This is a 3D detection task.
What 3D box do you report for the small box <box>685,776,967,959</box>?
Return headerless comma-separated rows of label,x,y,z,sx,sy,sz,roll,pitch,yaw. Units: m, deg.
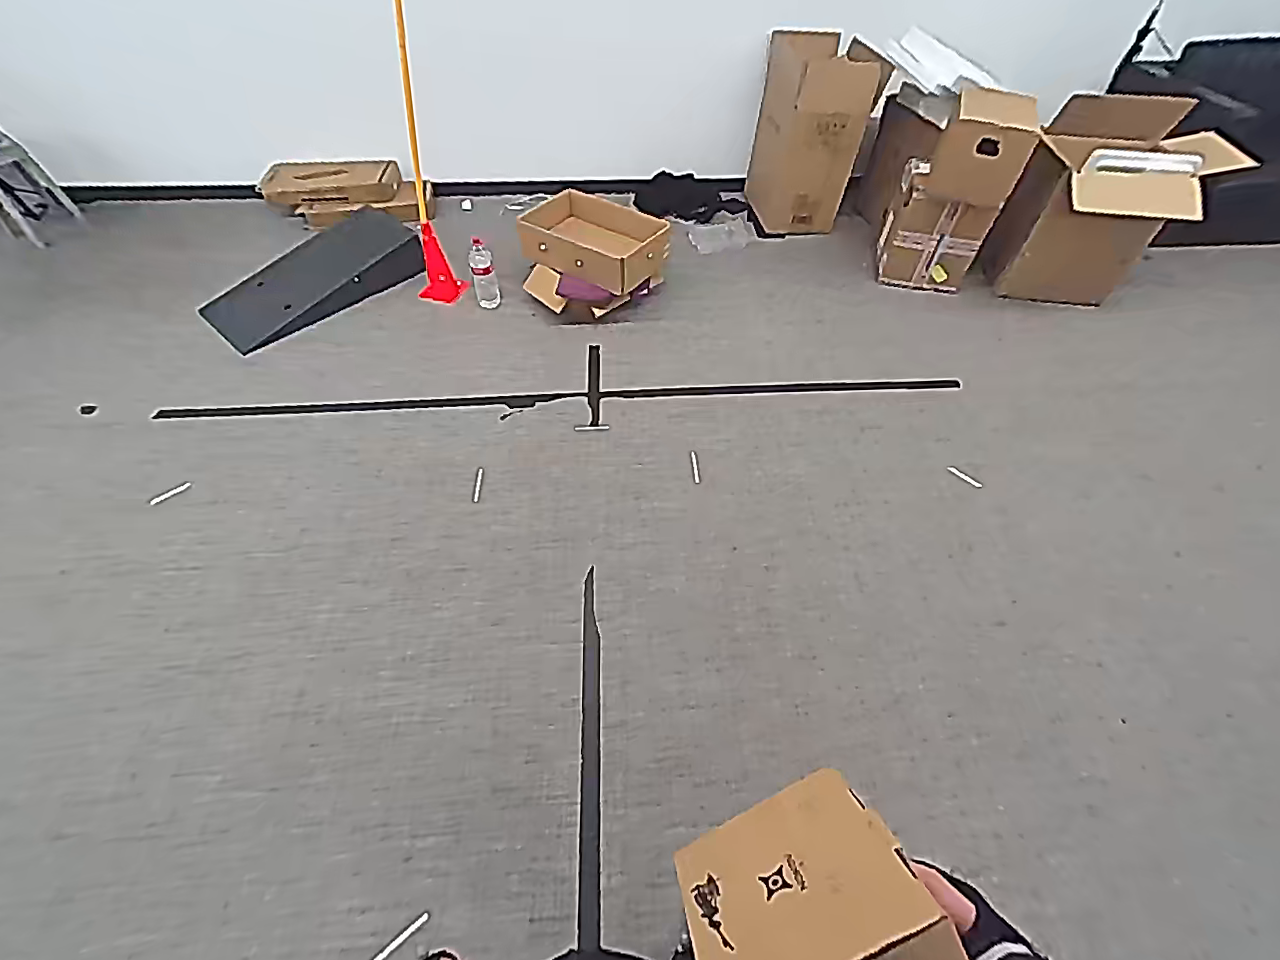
small box,0.162,0.403,0.452,0.179,0.168,0.176,-26,95,-4
